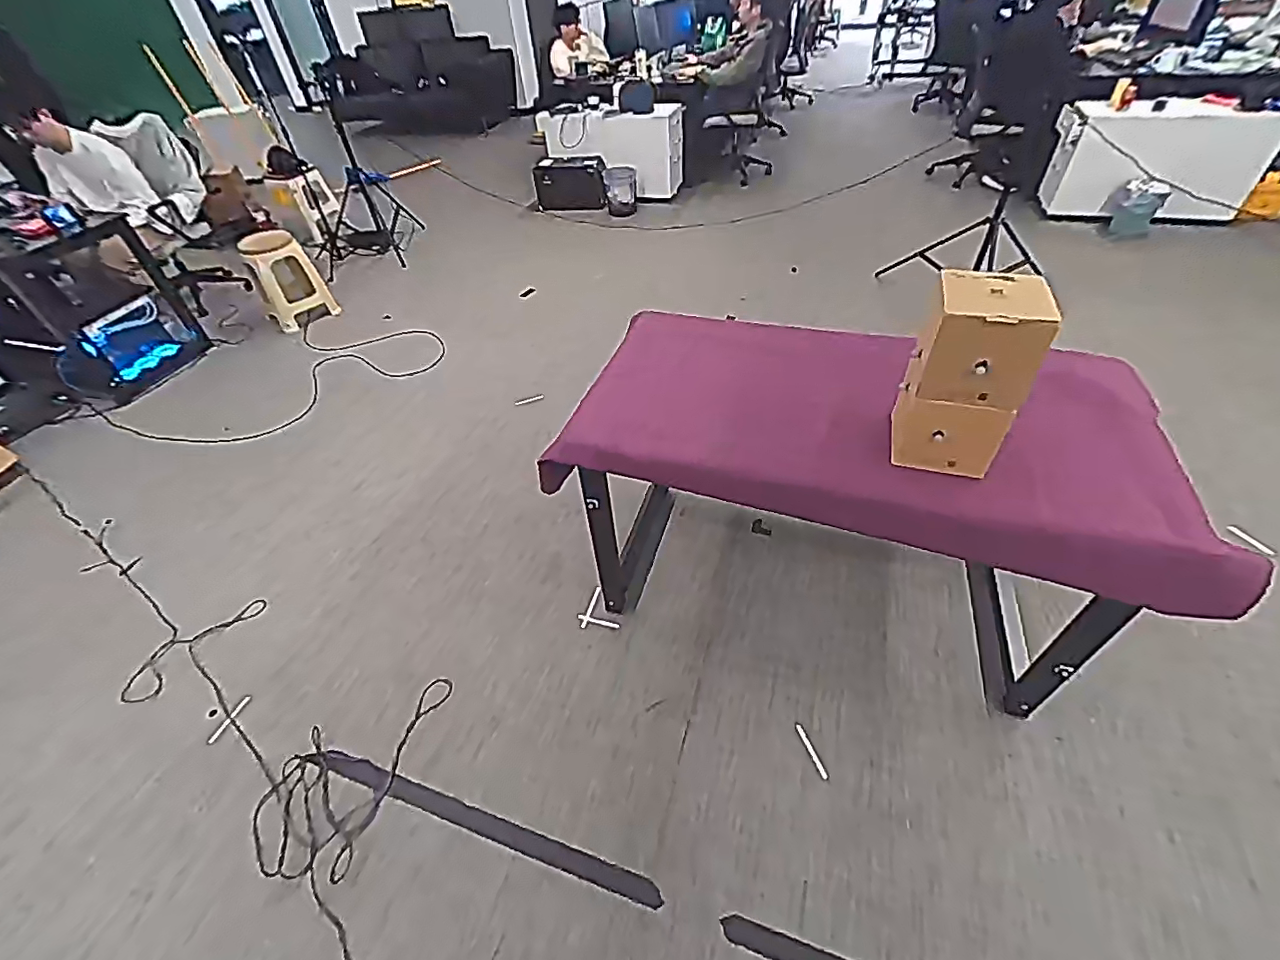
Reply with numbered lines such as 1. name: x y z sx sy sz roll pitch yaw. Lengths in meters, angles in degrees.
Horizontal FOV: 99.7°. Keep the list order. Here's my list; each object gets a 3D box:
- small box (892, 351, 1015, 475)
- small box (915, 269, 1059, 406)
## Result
1. small box: 0.608 -0.132 1.069 0.168 0.176 0.179 11 46 16
2. small box: 0.599 -0.251 0.958 0.168 0.176 0.179 11 47 17
